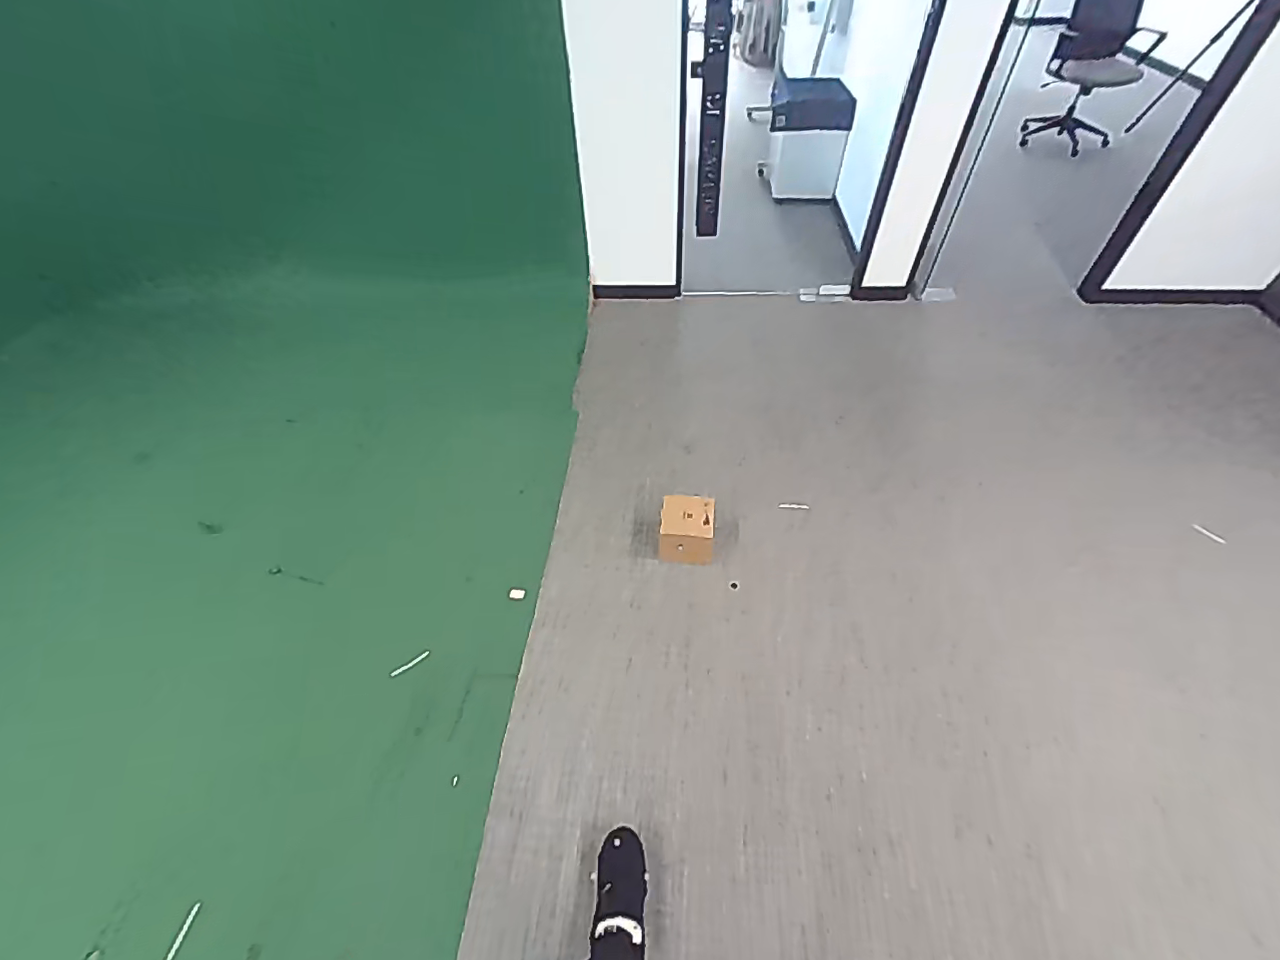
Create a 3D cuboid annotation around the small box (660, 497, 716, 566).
[{"bbox_3d":[0.164,0.178,1.834,0.179,0.176,0.168,4,49,7],"label":"small box"}]
